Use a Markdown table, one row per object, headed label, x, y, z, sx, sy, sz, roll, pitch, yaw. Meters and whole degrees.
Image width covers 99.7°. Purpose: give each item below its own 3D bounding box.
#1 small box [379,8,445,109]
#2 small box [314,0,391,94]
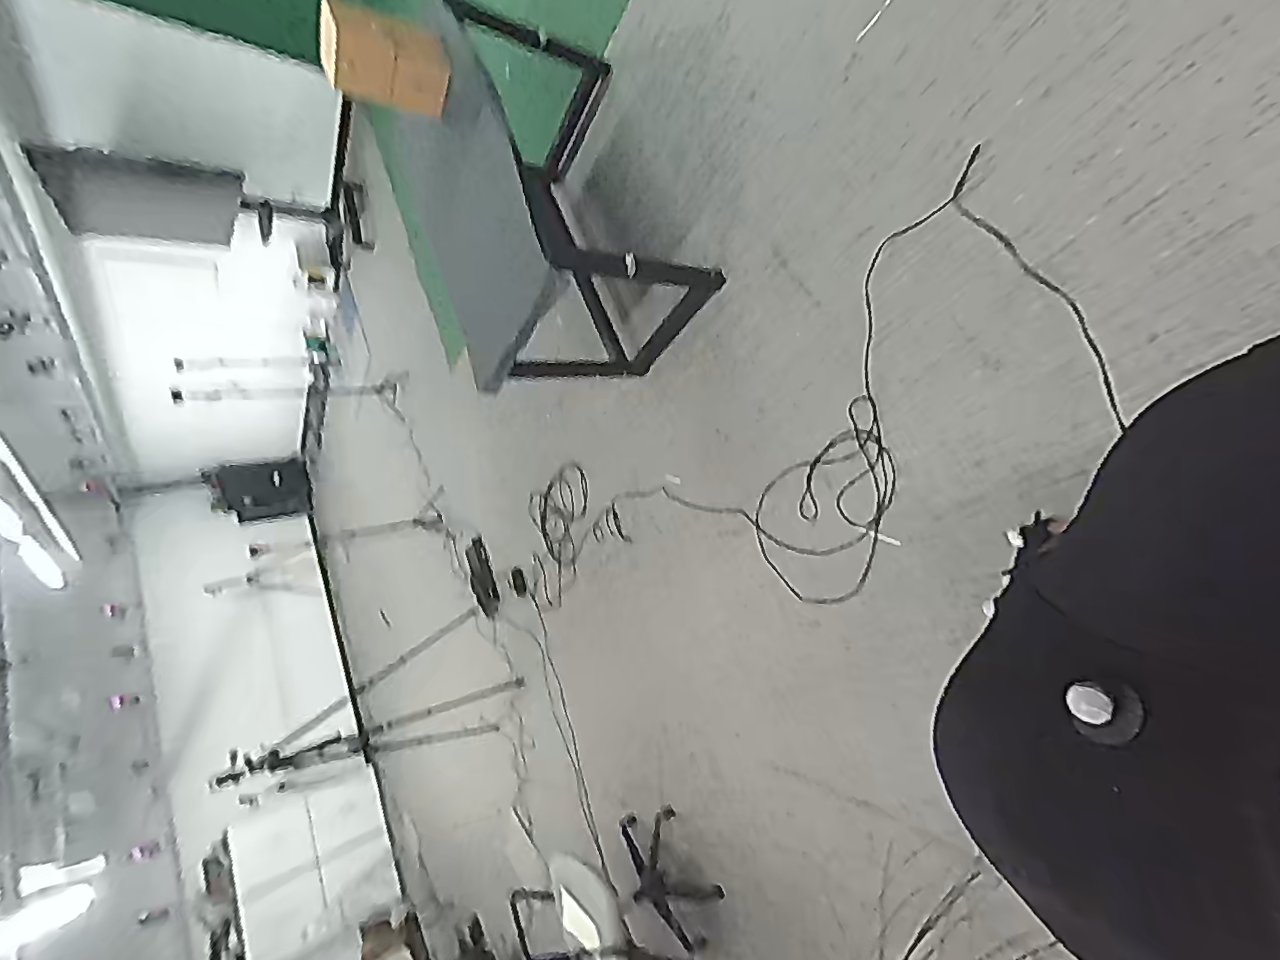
| label | x | y | z | sx | sy | sz | roll | pitch | yaw |
| --- | --- | --- | --- | --- | --- | --- | --- | --- | --- |
| small box | -0.740 | -1.338 | 1.729 | 0.179 | 0.176 | 0.168 | -42 | 67 | 50 |
| small box | -0.863 | -1.313 | 1.627 | 0.179 | 0.176 | 0.168 | -46 | 65 | 46 |
